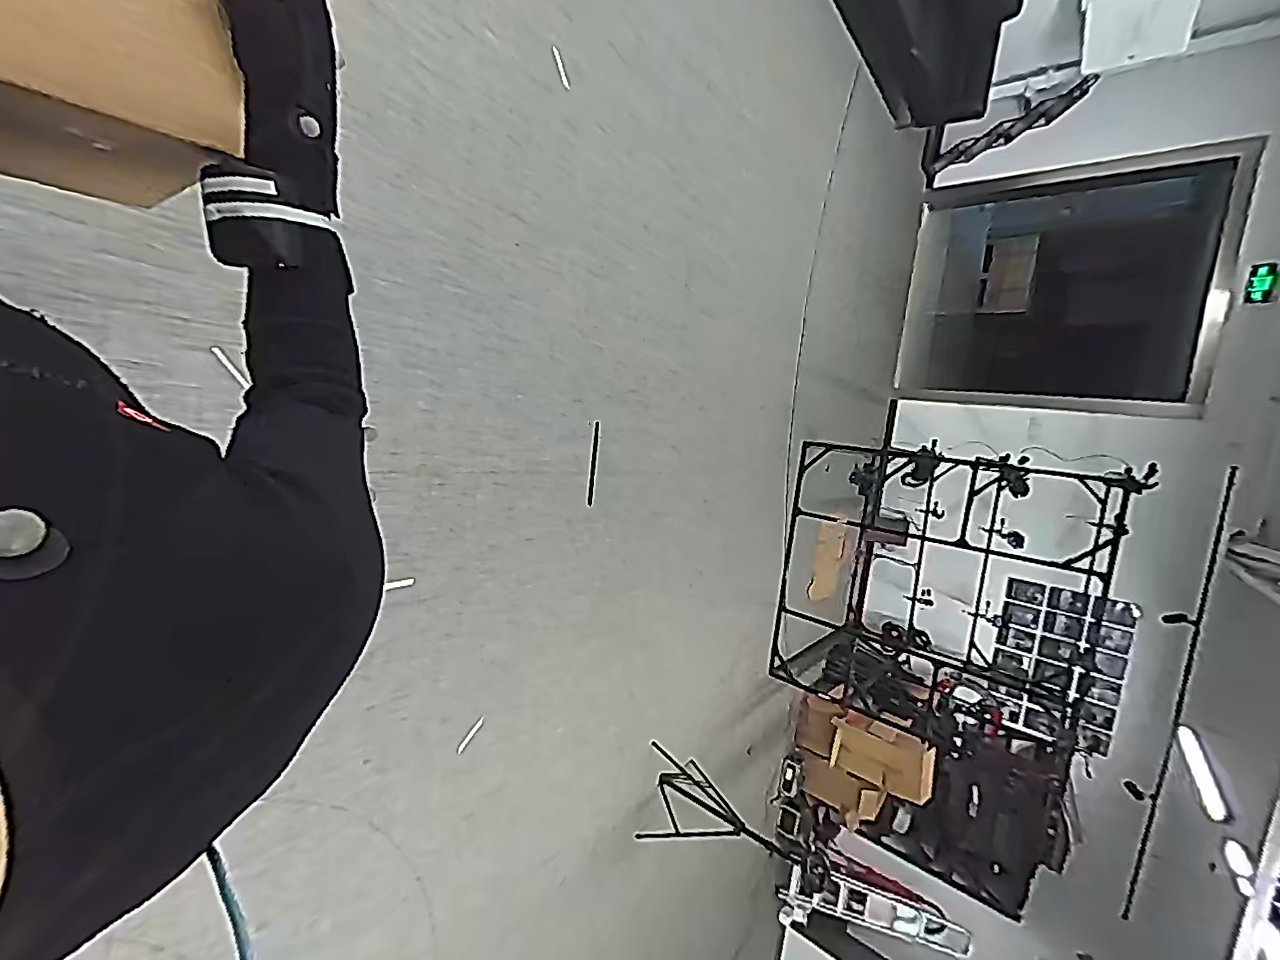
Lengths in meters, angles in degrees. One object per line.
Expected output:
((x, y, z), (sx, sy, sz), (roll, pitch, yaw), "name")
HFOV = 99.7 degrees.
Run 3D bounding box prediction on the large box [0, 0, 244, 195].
((-0.509, -0.400, 0.296), (0.408, 0.320, 0.320), (-6, 106, -52), "large box")
